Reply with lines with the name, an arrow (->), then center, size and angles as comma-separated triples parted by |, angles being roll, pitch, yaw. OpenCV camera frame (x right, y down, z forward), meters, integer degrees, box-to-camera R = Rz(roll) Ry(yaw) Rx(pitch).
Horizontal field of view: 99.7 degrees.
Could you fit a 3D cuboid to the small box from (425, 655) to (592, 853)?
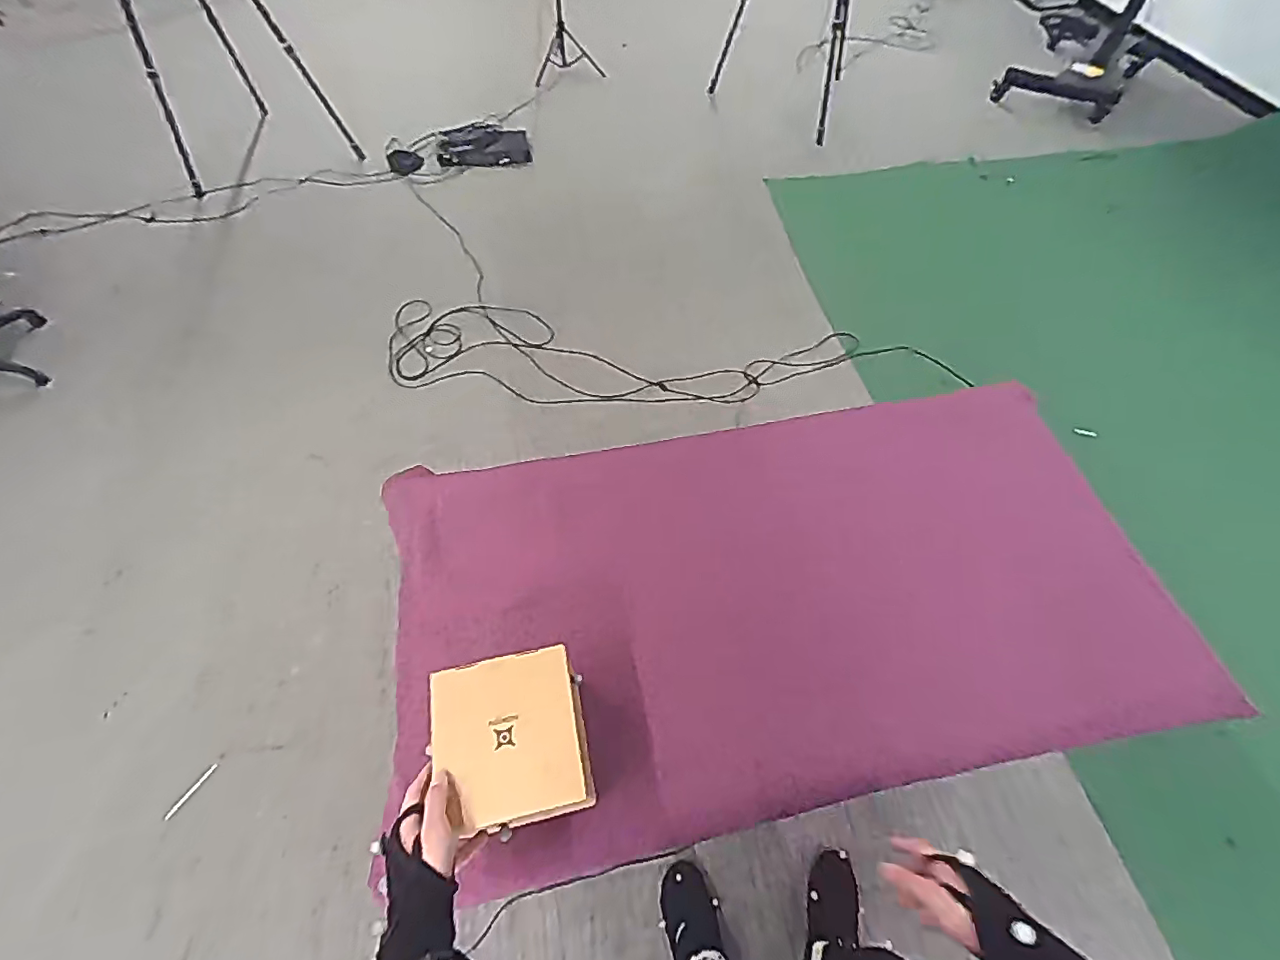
small box -> -0.159, 0.343, 0.679 | 0.168, 0.176, 0.179 | -11, 57, -7
